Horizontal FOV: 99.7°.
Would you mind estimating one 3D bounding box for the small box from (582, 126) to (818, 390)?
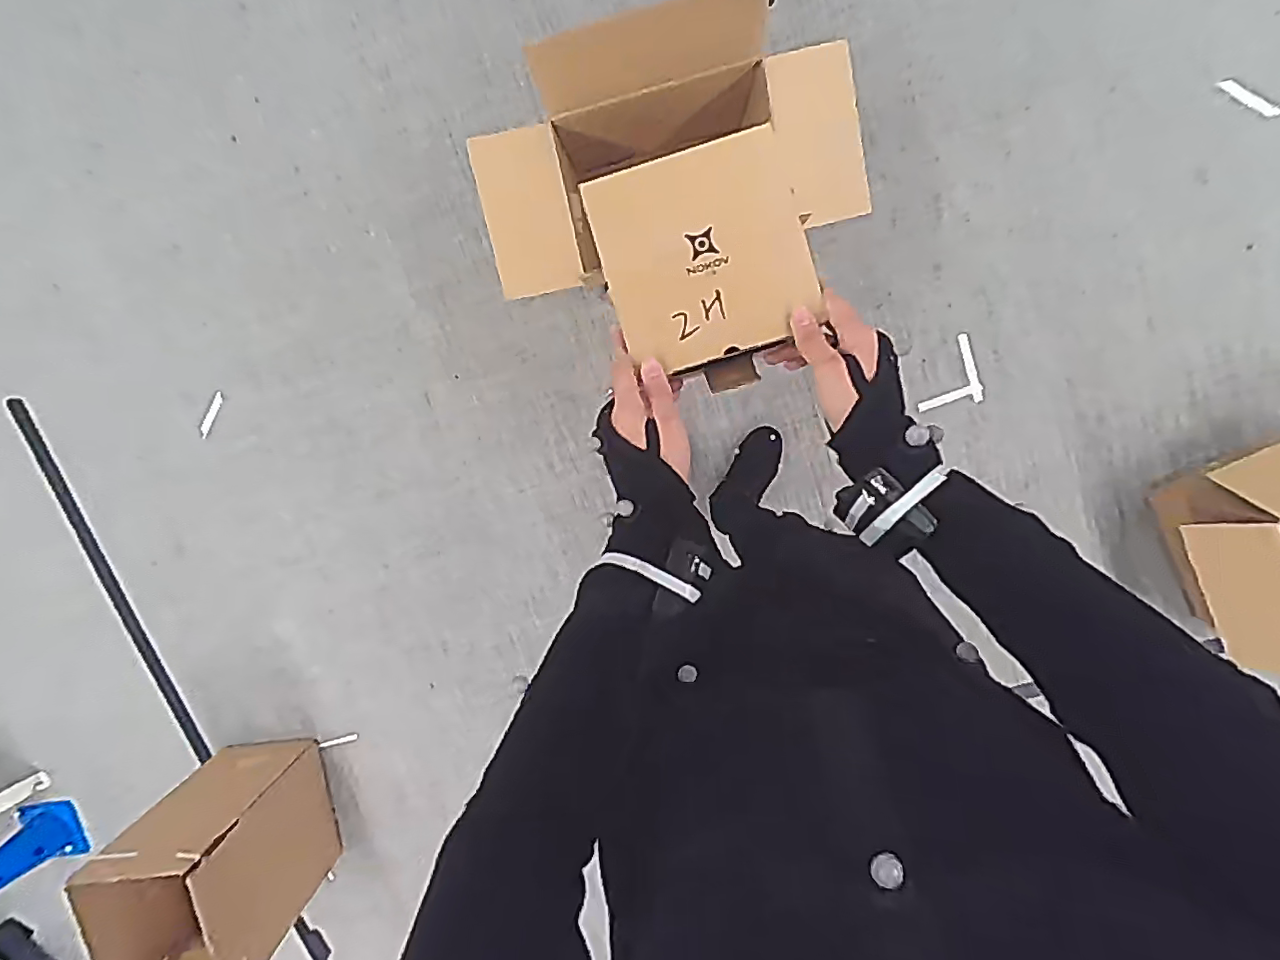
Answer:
[{"bbox_3d":[0.052,-0.194,0.530,0.168,0.176,0.179,-16,97,3],"label":"small box"}]
